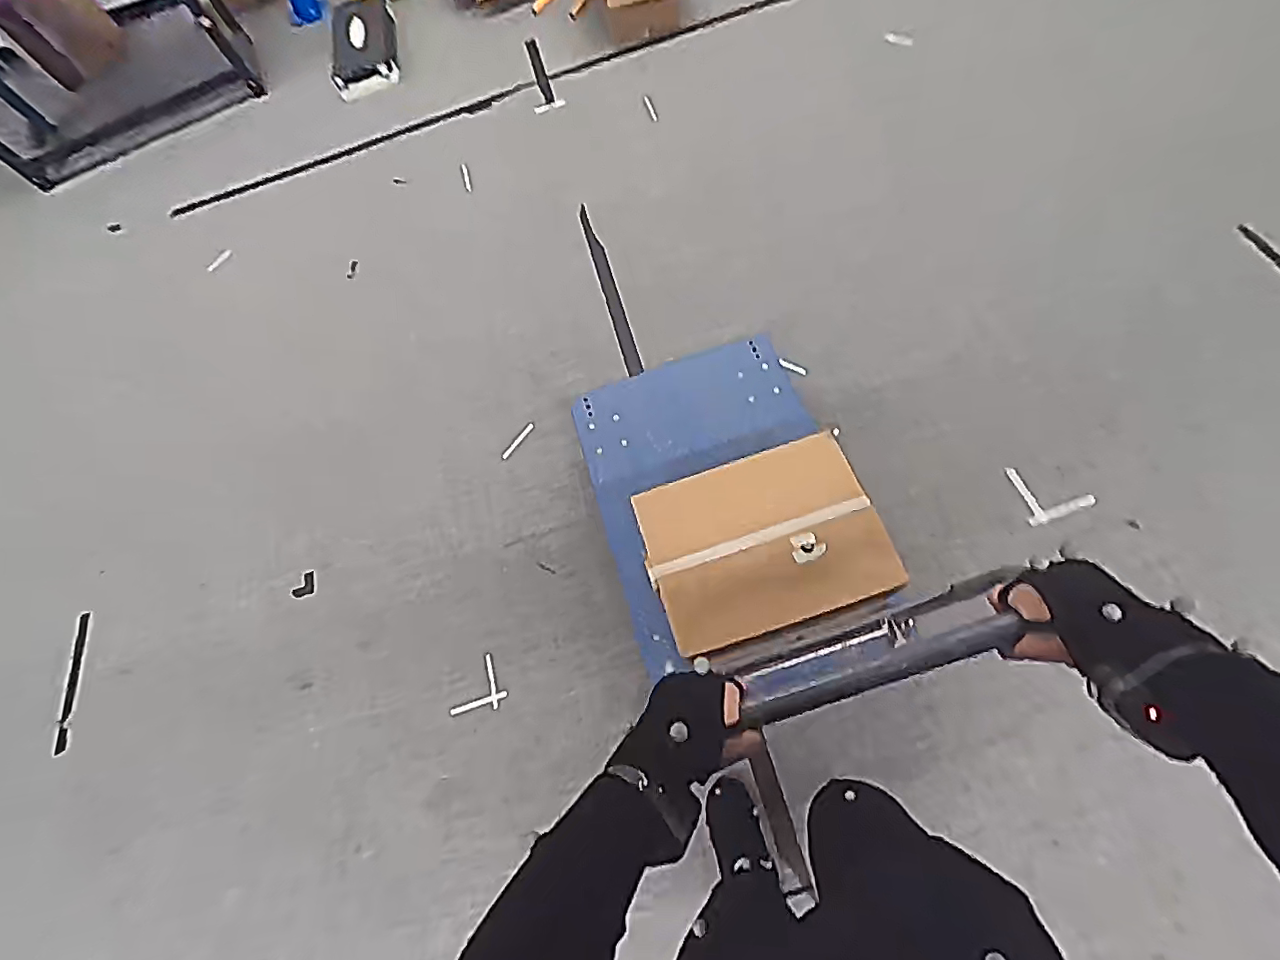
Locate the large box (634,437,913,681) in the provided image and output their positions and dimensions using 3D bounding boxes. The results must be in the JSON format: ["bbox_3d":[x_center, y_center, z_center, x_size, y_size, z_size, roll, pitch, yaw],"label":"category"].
[{"bbox_3d":[0.237,0.174,1.079,0.408,0.320,0.320,-19,65,0],"label":"large box"}]
